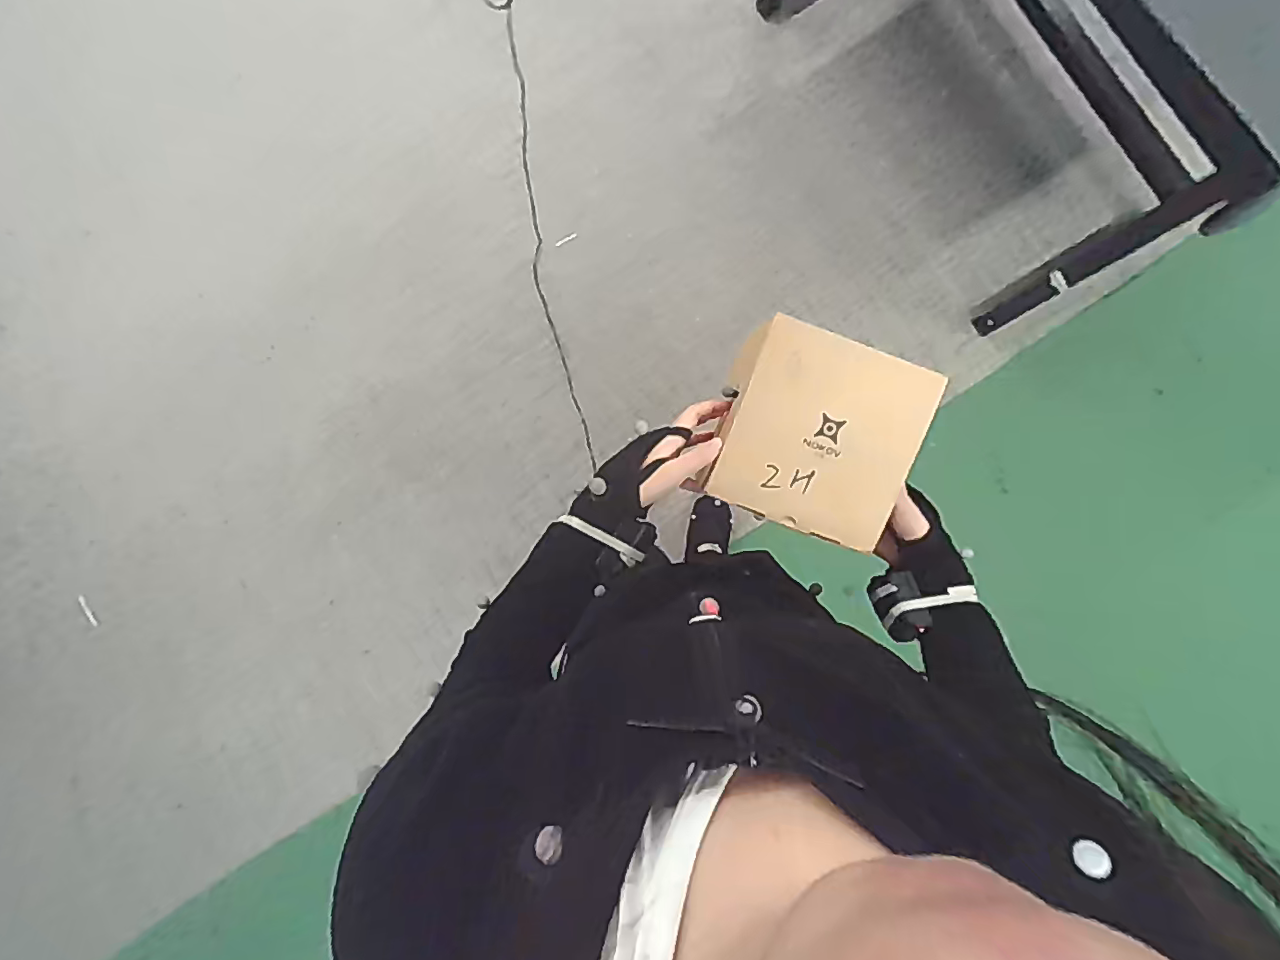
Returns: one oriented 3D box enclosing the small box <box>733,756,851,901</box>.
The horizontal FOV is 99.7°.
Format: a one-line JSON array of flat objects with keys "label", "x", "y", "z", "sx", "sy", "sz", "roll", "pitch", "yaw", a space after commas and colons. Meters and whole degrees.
[{"label": "small box", "x": 0.330, "y": 0.765, "z": 1.208, "sx": 0.168, "sy": 0.176, "sz": 0.179, "roll": -37, "pitch": 86, "yaw": 0}]
